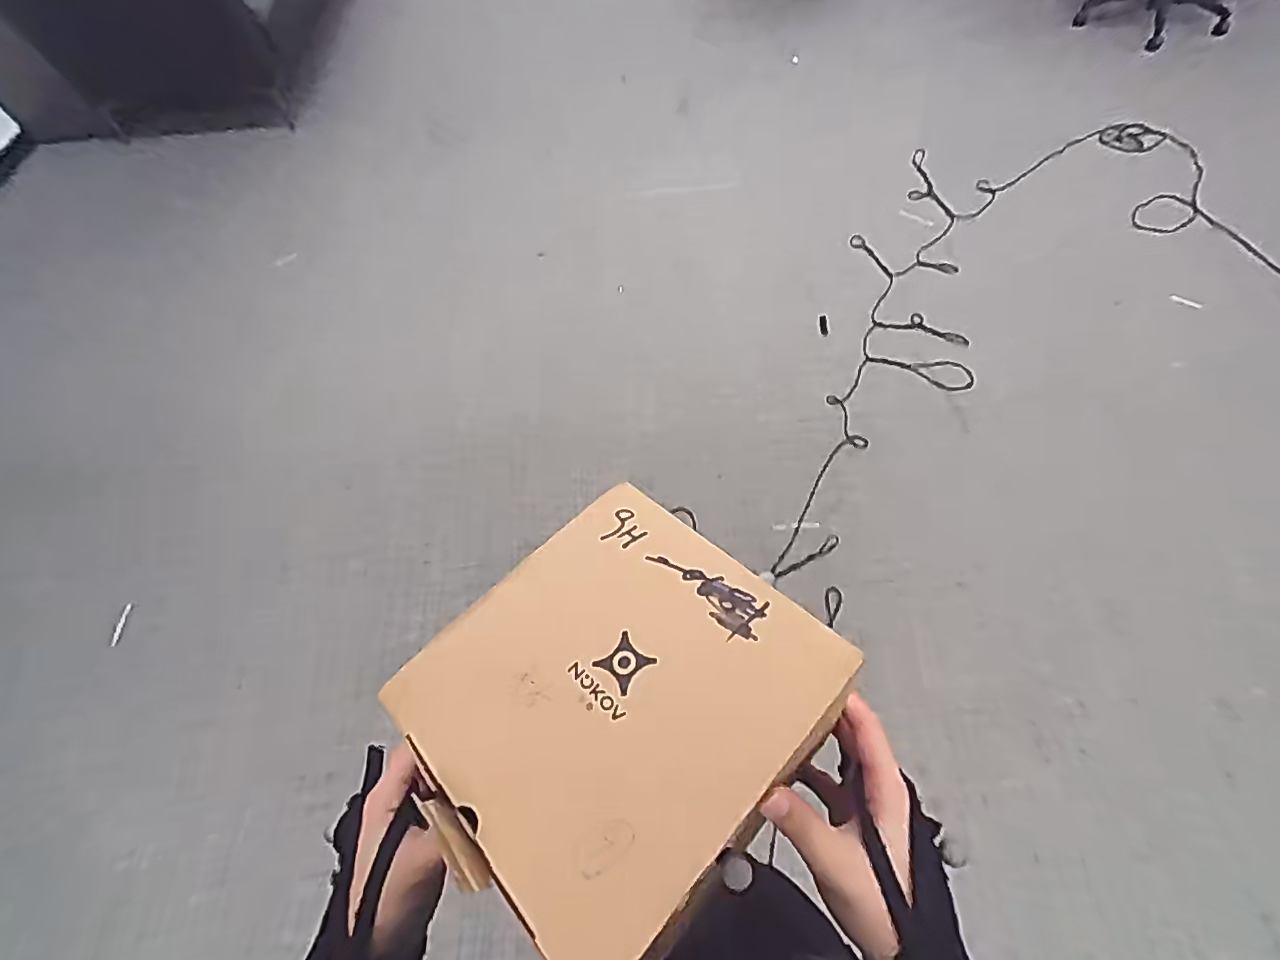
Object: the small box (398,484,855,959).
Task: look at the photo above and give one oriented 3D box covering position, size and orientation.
[{"bbox_3d":[0.001,0.143,0.328,0.168,0.176,0.179,35,65,31],"label":"small box"}]
